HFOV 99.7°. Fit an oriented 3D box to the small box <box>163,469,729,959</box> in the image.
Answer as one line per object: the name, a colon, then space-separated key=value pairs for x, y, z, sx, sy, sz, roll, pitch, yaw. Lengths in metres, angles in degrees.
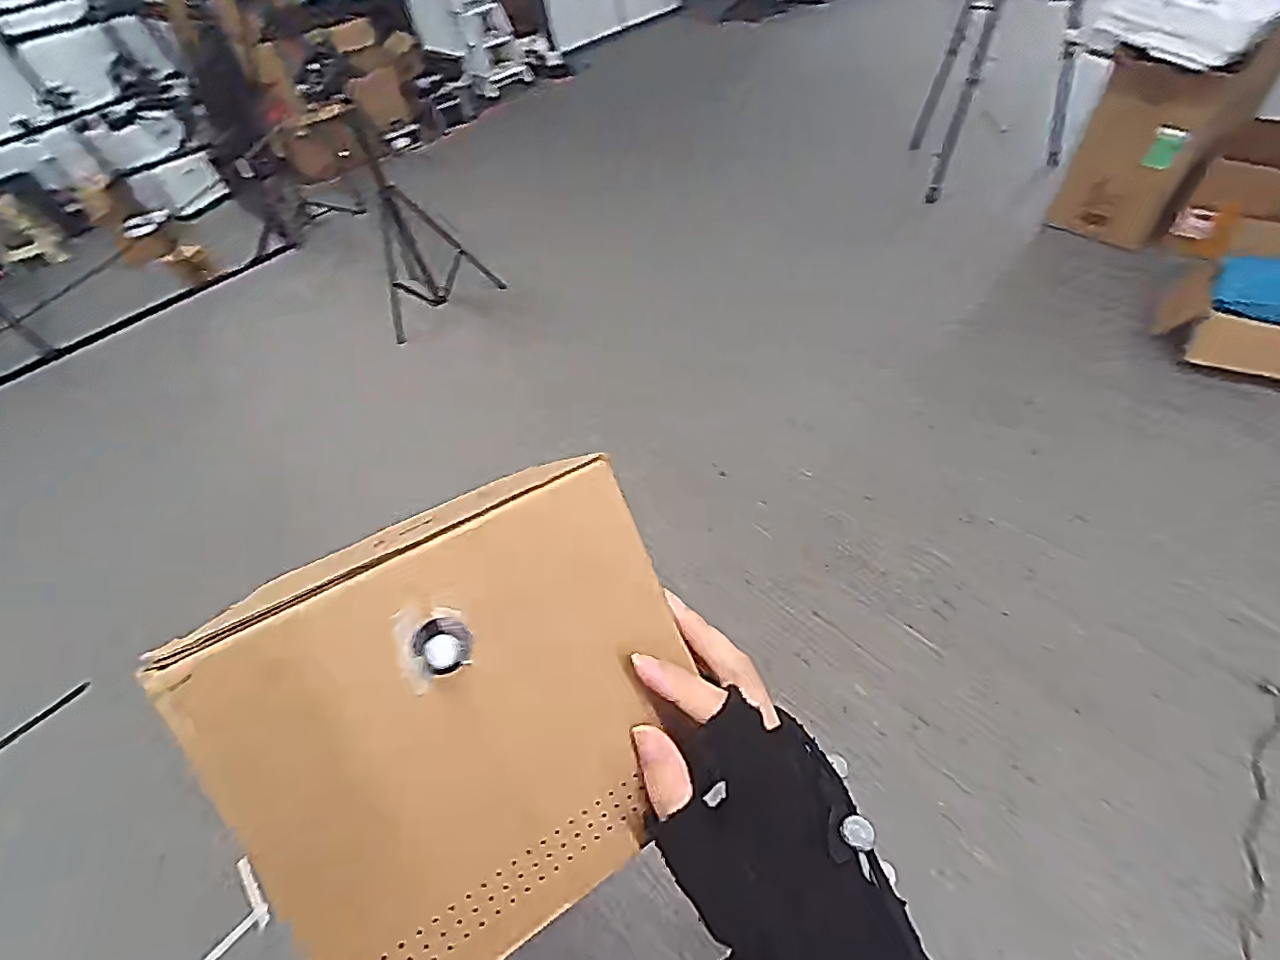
small box: x=-0.083 y=0.108 z=0.289 sx=0.179 sy=0.176 sz=0.168 roll=-26 pitch=9 yaw=-23
